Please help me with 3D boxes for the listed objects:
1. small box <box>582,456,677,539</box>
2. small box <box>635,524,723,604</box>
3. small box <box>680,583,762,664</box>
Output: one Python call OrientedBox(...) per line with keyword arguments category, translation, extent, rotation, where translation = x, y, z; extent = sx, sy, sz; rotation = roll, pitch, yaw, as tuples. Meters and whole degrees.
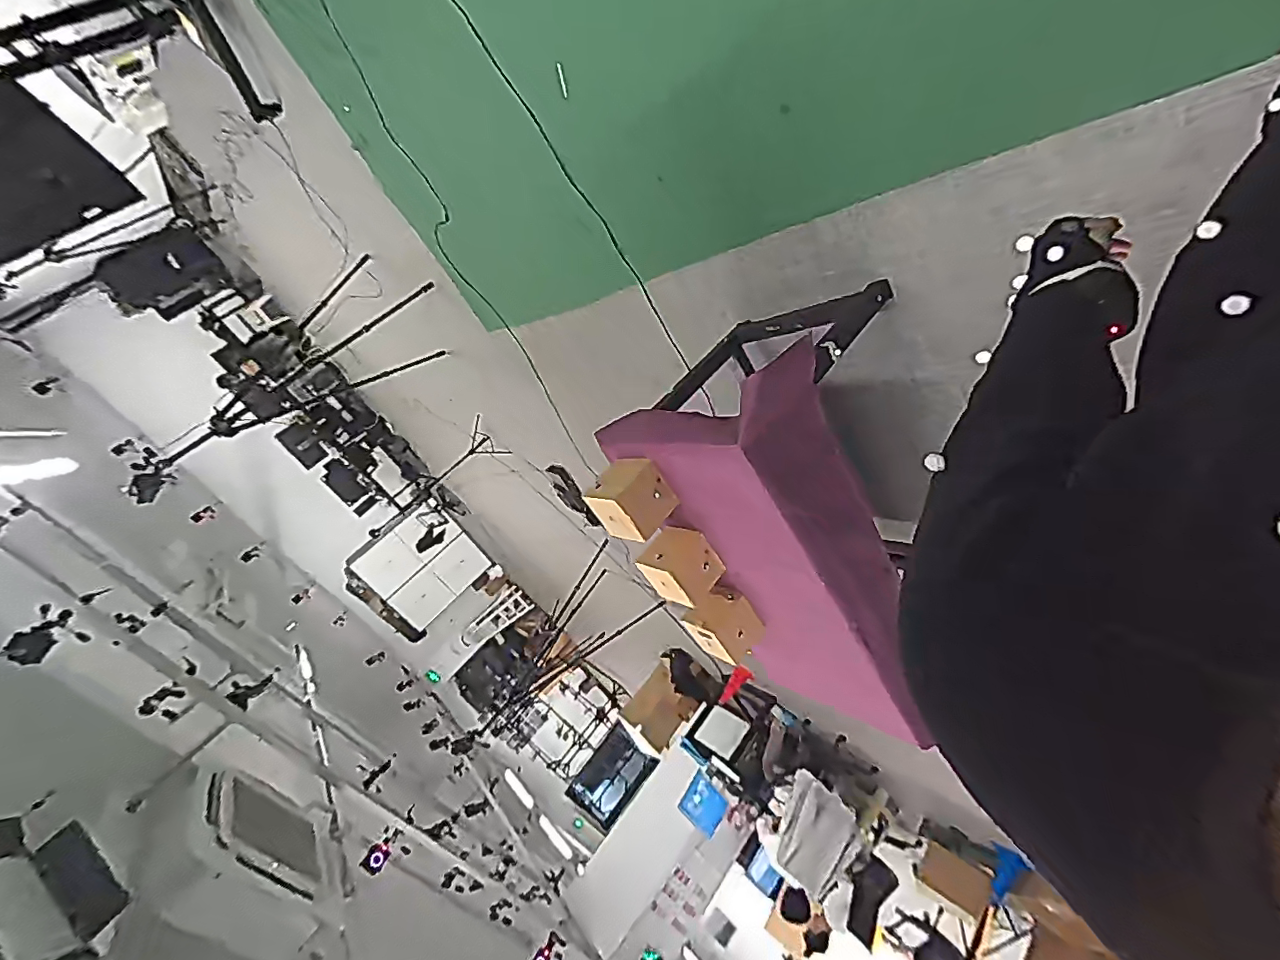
OrientedBox(category="small box", translation=(-0.027, 0.044, 1.559), extent=(0.179, 0.176, 0.168), rotation=(3, 135, 52))
OrientedBox(category="small box", translation=(0.123, 0.256, 1.686), extent=(0.179, 0.176, 0.168), rotation=(3, 134, 55))
OrientedBox(category="small box", translation=(0.273, 0.468, 1.797), extent=(0.168, 0.176, 0.179), rotation=(6, 137, 54))
